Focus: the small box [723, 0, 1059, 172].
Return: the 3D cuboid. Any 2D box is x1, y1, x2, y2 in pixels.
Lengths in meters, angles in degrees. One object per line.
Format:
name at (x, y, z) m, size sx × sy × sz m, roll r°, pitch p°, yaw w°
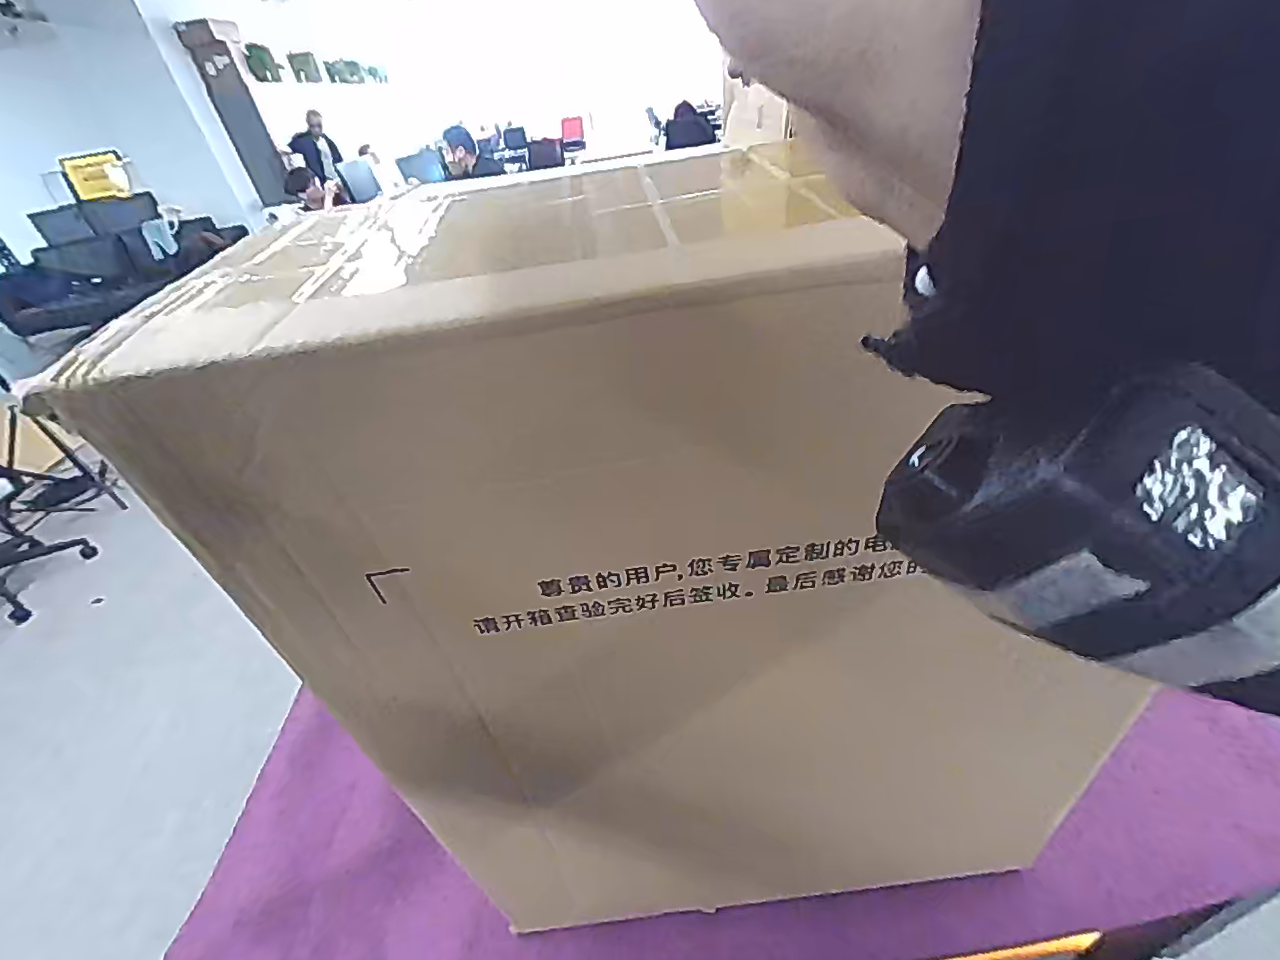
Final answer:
small box at (0.158, -0.329, 0.370) m, size 0.179 × 0.176 × 0.168 m, roll -13°, pitch 36°, yaw -2°
